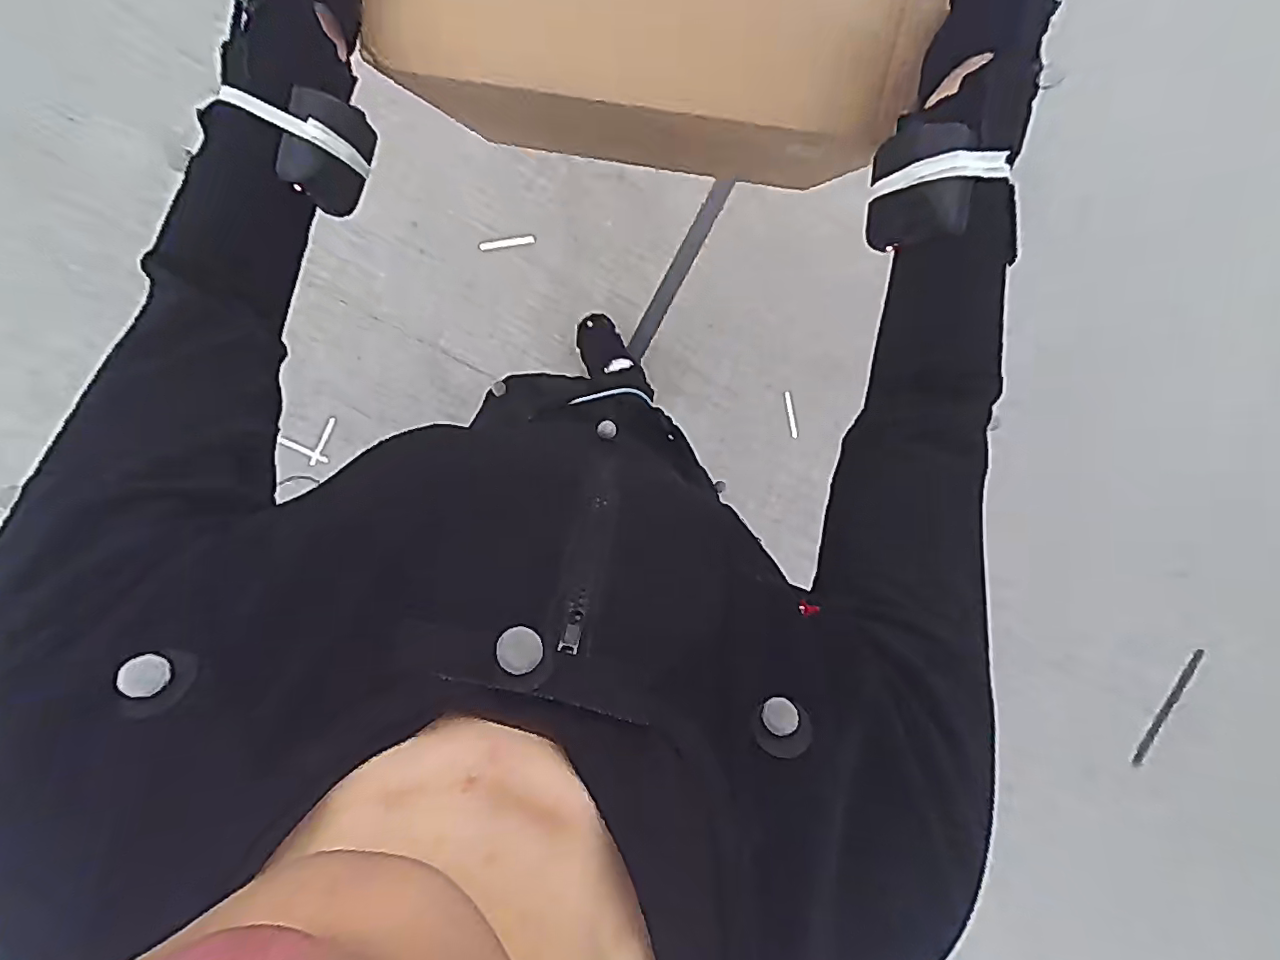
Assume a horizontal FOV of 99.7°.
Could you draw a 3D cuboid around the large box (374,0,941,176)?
[{"bbox_3d":[0.023,-0.483,0.476,0.408,0.320,0.320,7,114,-2],"label":"large box"}]
